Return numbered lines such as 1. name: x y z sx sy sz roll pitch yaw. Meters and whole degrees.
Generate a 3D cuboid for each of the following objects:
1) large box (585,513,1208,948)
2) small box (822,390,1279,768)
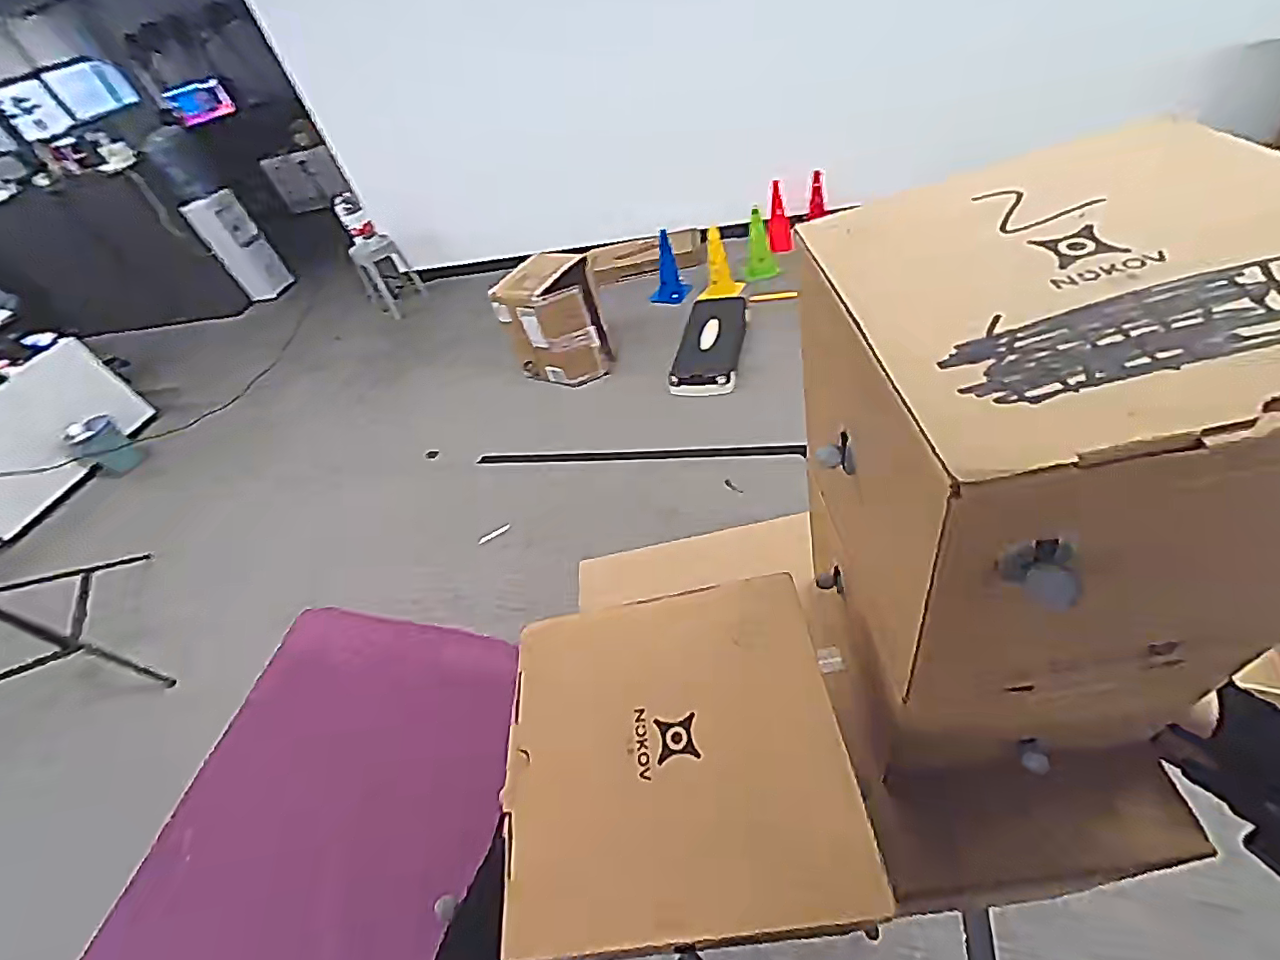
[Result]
1. large box: 0.186 0.254 0.560 0.408 0.320 0.320 -14 45 7
2. small box: 0.228 0.071 0.368 0.168 0.176 0.179 -13 47 9
